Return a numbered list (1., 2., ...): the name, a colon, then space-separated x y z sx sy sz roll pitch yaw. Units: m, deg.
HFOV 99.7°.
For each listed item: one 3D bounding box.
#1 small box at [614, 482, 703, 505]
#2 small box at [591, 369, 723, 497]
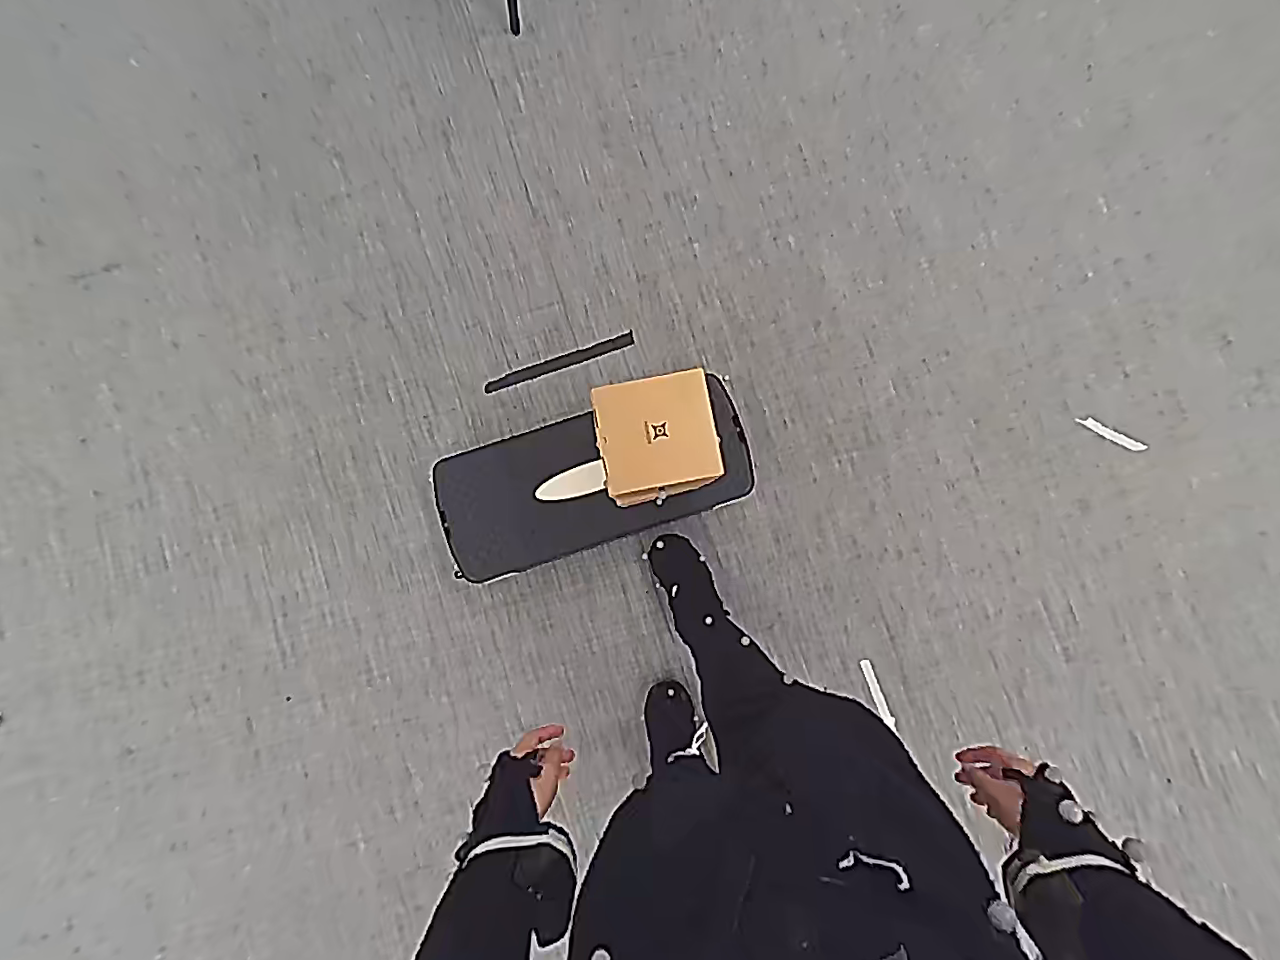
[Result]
1. small box: 0.018 -0.053 1.043 0.168 0.176 0.179 -14 86 0
2. small box: 0.025 -0.068 0.881 0.179 0.176 0.168 -11 86 1
